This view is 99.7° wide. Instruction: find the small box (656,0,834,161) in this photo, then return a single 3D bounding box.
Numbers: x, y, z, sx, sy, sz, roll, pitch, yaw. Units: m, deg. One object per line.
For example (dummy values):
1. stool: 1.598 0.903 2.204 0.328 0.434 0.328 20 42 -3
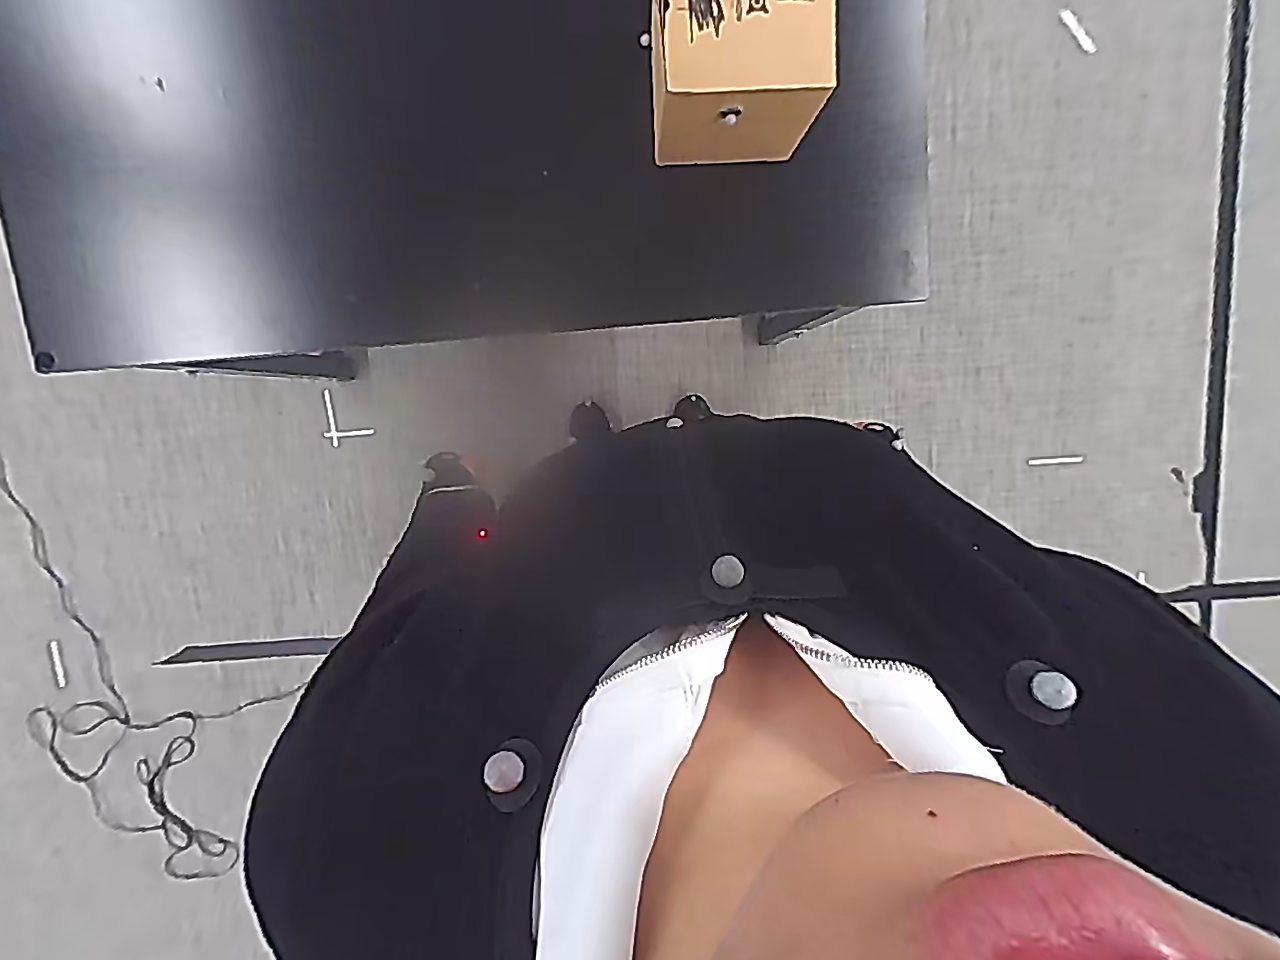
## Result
1. small box: 0.108 -0.491 0.624 0.179 0.176 0.168 -3 98 -1
